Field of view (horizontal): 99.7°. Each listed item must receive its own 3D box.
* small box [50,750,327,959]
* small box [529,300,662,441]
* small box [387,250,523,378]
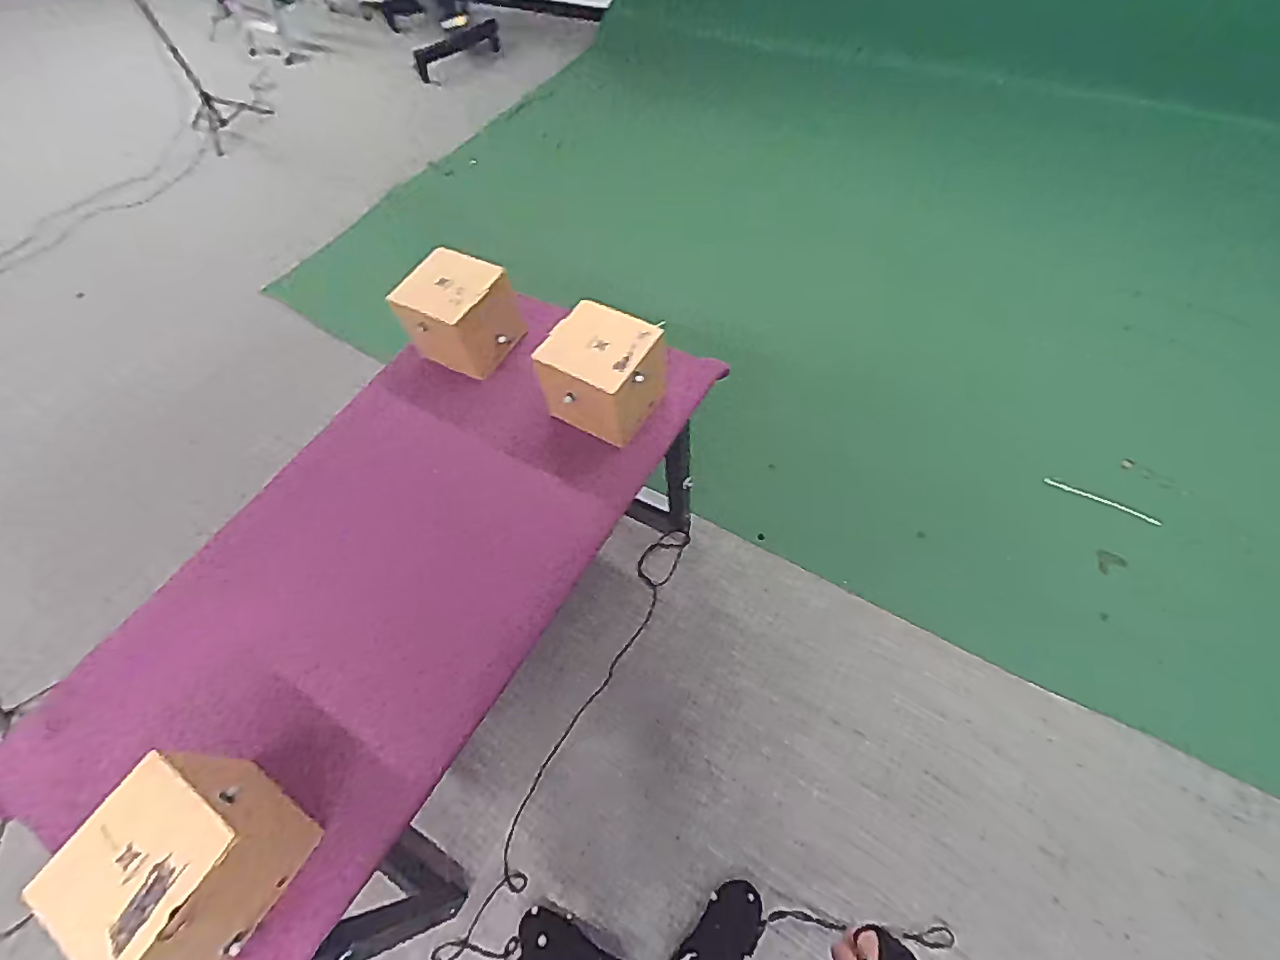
[{"bbox_3d":[-0.549,0.471,0.684,0.179,0.176,0.168,24,65,21],"label":"small box"},{"bbox_3d":[-0.074,-0.199,1.013,0.179,0.176,0.168,26,67,20],"label":"small box"},{"bbox_3d":[-0.377,-0.342,1.131,0.179,0.176,0.168,24,69,18],"label":"small box"}]
